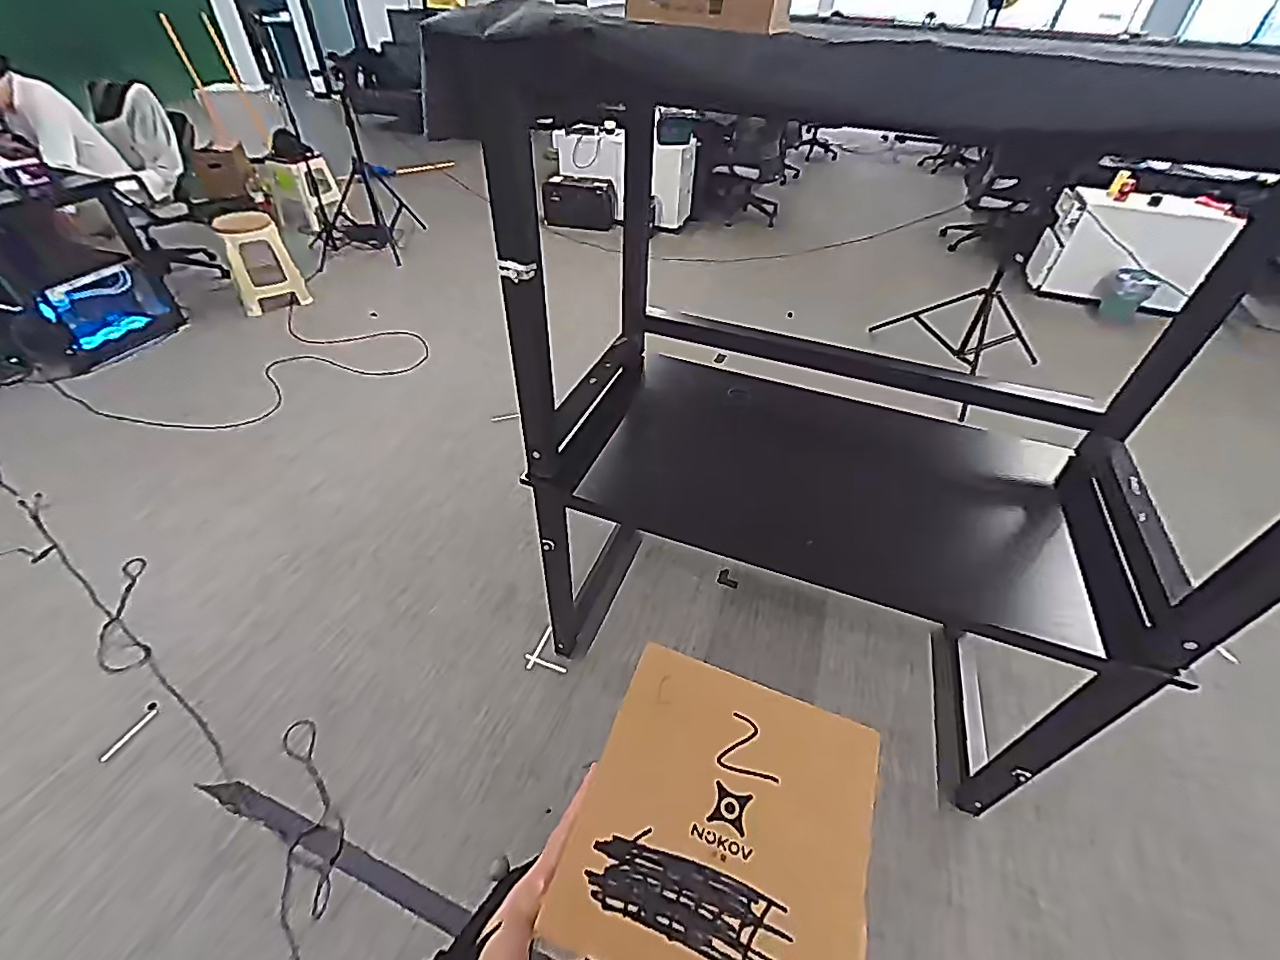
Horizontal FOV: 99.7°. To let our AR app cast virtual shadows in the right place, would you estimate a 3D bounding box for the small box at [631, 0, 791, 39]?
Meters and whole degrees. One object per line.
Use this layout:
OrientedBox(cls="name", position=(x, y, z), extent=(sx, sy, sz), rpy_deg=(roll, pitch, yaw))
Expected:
OrientedBox(cls="small box", position=(0.091, -0.605, 0.603), extent=(0.168, 0.176, 0.179), rpy_deg=(15, 42, 11))
